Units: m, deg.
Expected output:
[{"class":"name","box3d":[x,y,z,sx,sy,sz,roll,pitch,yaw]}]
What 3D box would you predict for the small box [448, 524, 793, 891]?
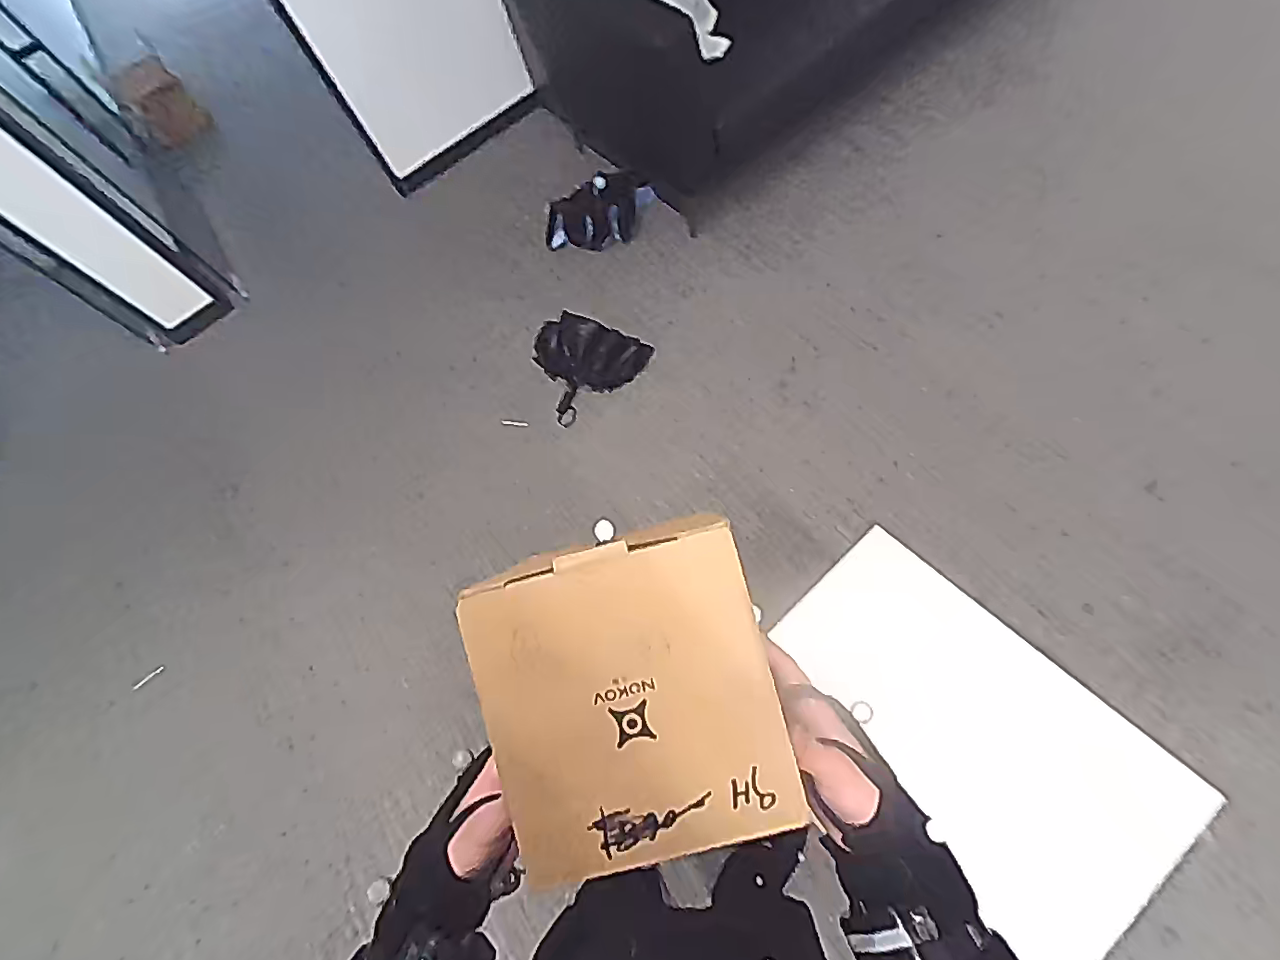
[{"class":"small box","box3d":[-0.010,0.133,0.388,0.168,0.176,0.179,-16,87,3]}]
